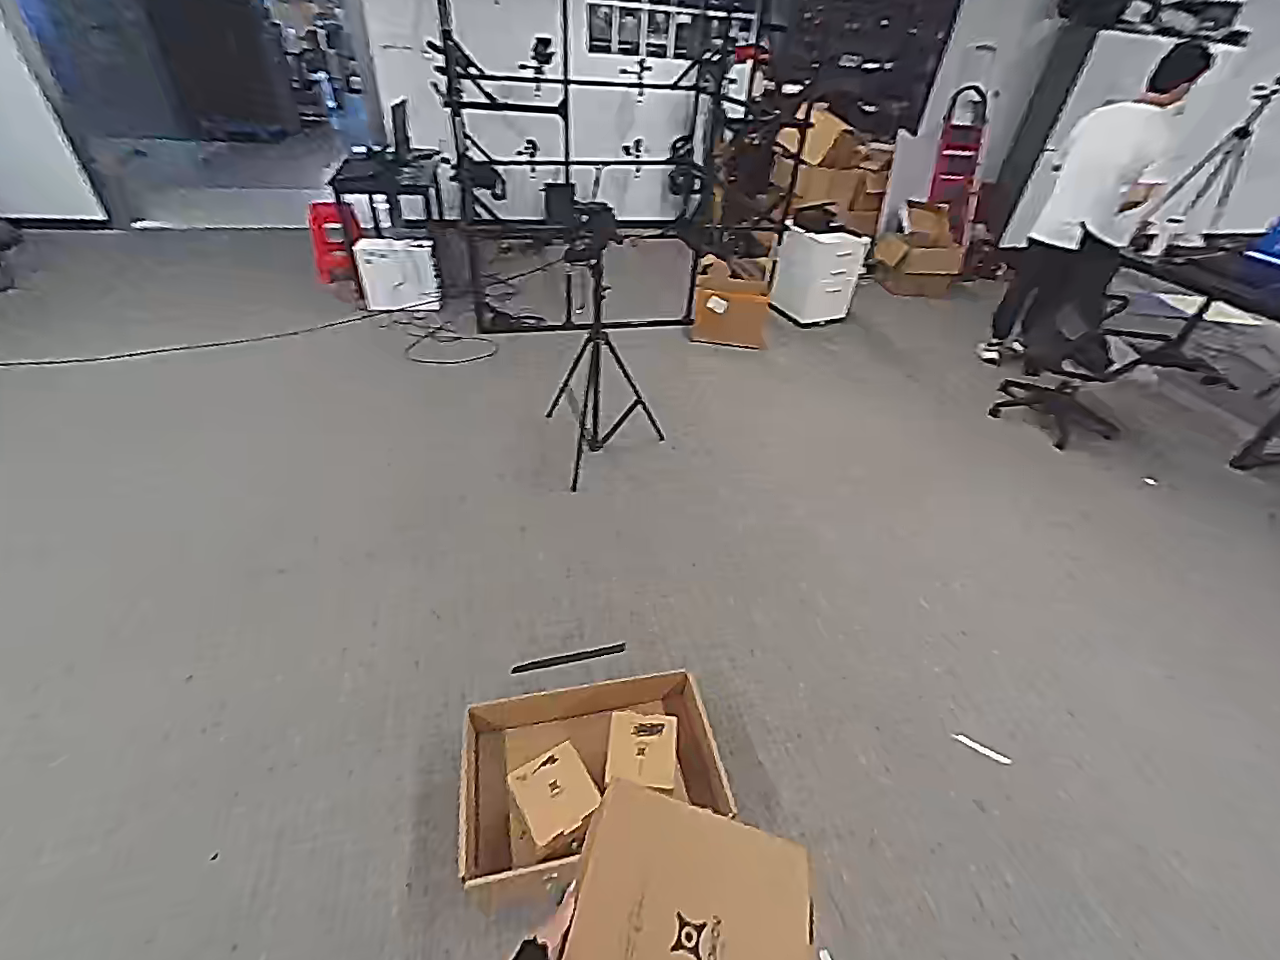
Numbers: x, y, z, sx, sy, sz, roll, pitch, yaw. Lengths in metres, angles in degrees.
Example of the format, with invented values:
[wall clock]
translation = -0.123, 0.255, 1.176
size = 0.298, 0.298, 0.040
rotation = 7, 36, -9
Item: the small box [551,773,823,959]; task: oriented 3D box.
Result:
[small box]
translation = 0.028, 0.373, 0.432
size = 0.179, 0.176, 0.168
rotation = 18, 42, 3
